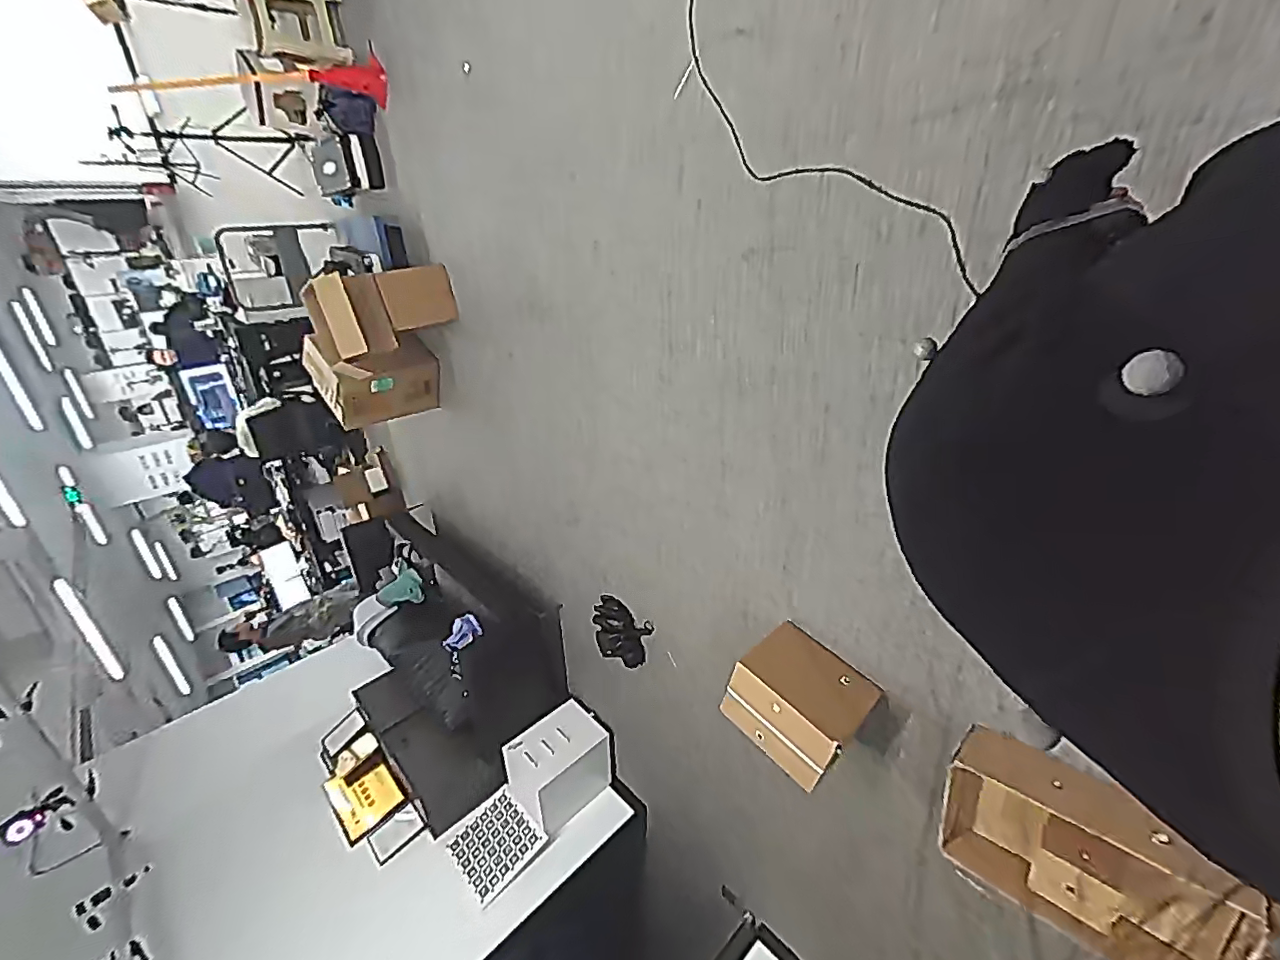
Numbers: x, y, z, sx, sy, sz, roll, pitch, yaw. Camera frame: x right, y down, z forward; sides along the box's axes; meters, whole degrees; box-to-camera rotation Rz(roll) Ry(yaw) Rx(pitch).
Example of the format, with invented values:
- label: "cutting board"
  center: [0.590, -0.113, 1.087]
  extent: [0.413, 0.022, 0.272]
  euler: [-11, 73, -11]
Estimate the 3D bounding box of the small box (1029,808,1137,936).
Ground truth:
- label: "small box"
  center: [1.159, 1.013, 1.413]
  extent: [0.179, 0.176, 0.168]
  euler: [19, 122, 46]
